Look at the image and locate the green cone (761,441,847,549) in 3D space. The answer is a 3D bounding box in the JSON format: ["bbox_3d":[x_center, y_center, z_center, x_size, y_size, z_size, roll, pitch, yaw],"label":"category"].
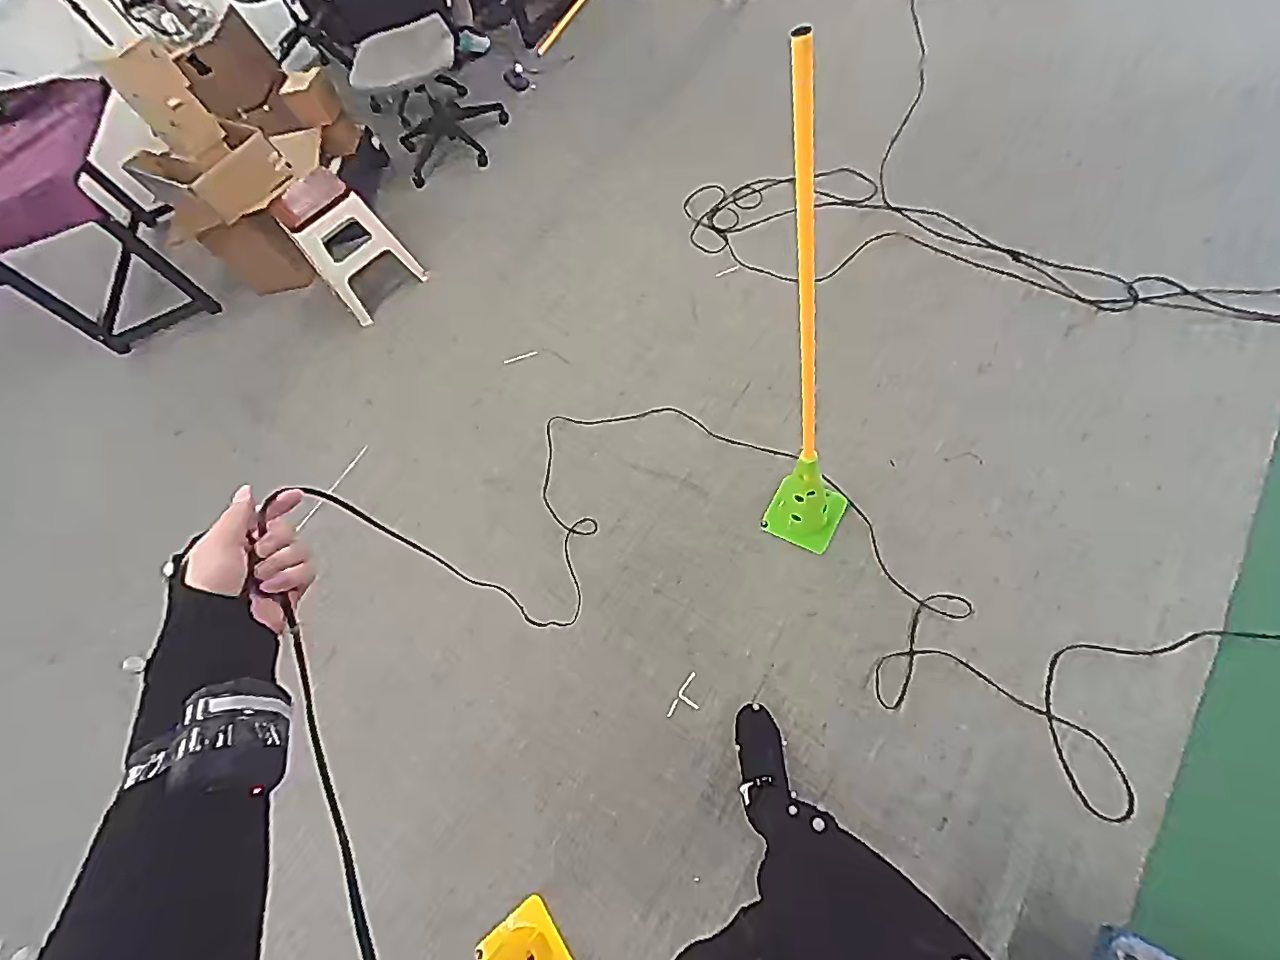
[{"bbox_3d":[0.445,0.010,1.442,0.200,0.368,0.202,24,70,23],"label":"green cone"}]
